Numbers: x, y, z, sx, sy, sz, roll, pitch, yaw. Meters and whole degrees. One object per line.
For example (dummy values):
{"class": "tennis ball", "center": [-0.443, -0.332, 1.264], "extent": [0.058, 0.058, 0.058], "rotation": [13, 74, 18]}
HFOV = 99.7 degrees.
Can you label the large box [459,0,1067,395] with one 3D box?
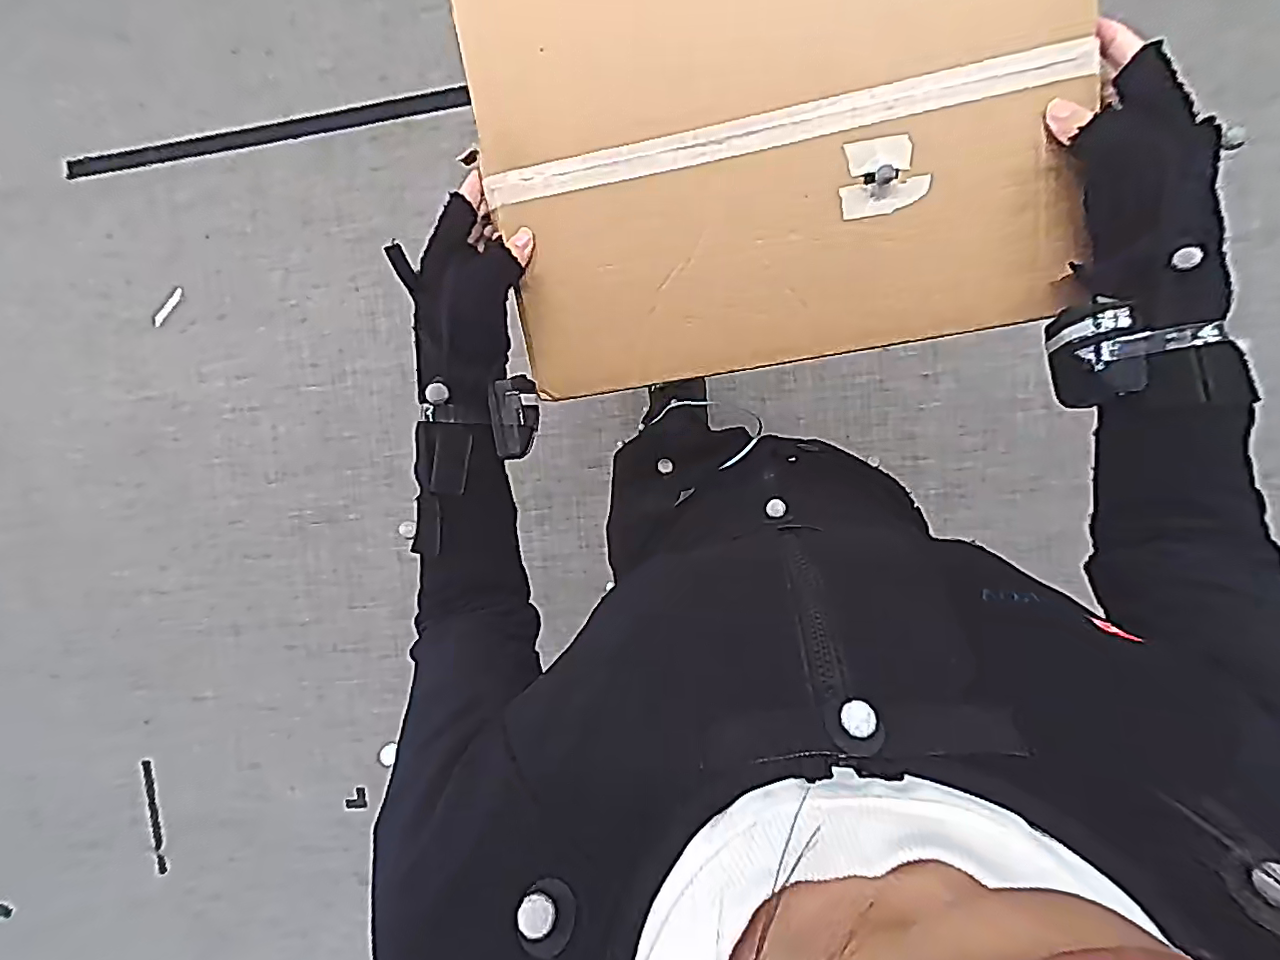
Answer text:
{"class": "large box", "center": [0.101, -0.282, 0.531], "extent": [0.408, 0.320, 0.320], "rotation": [-9, 104, 7]}
